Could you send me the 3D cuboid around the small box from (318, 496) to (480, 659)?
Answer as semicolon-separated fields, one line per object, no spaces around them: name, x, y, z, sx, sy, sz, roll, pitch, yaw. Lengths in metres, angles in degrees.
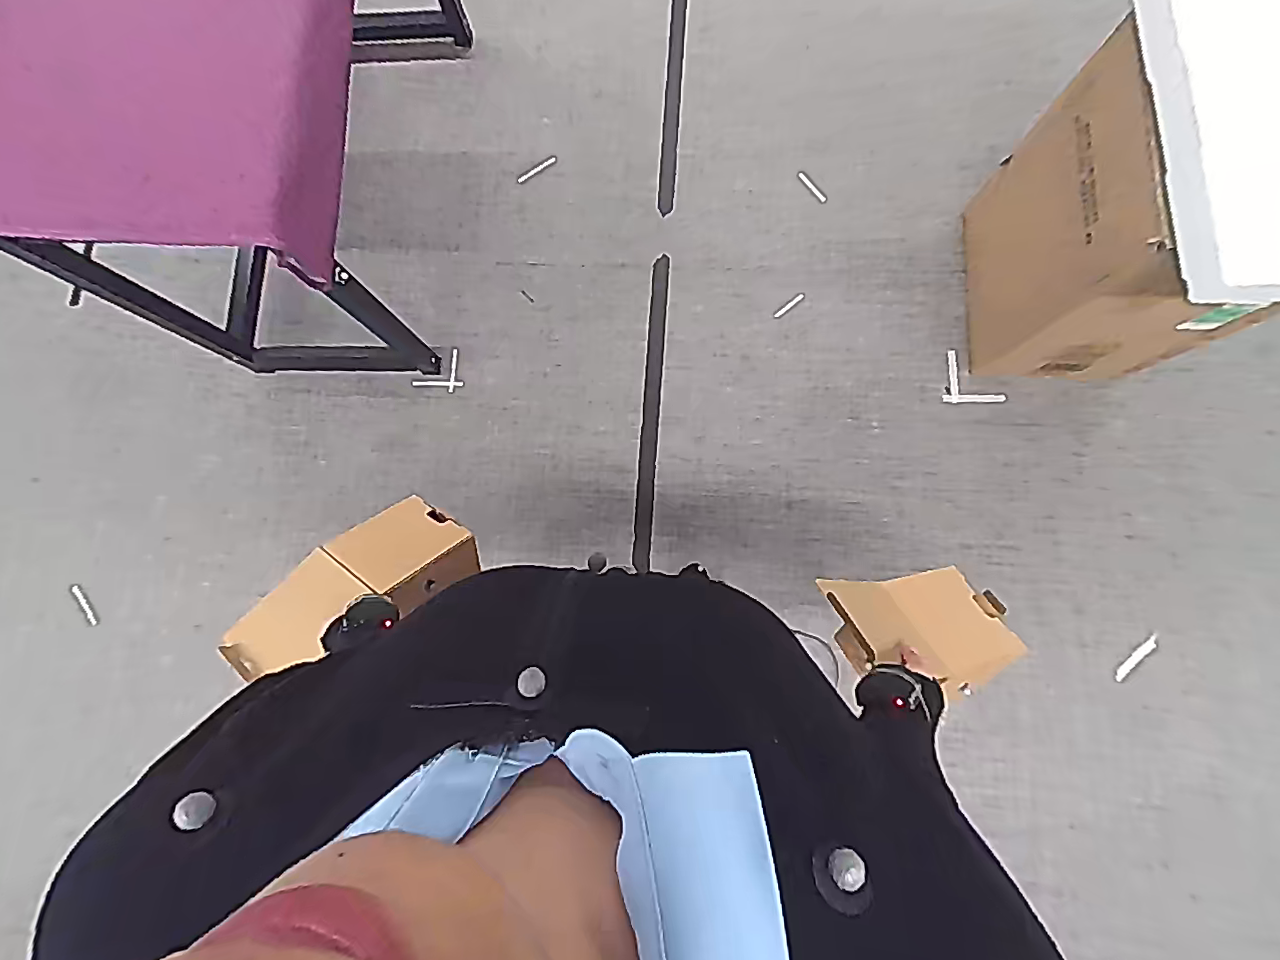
small box;-0.392;0.163;0.910;0.168;0.176;0.179;27;43;27
